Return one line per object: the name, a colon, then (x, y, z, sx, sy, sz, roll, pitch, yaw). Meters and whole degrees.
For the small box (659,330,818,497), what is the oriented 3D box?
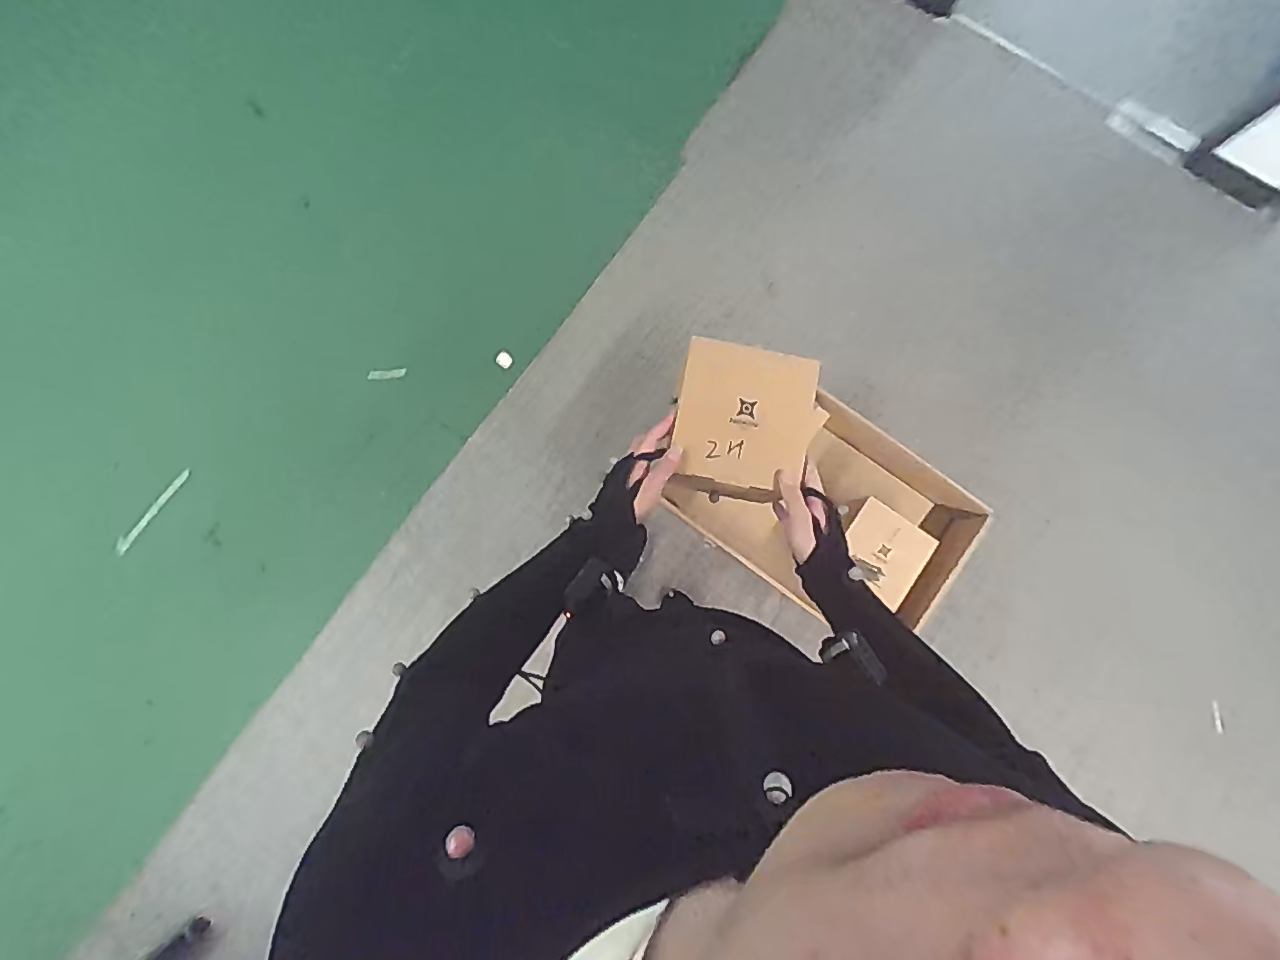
small box: (0.123, -0.079, 0.737, 0.168, 0.176, 0.179, 11, 85, -1)
